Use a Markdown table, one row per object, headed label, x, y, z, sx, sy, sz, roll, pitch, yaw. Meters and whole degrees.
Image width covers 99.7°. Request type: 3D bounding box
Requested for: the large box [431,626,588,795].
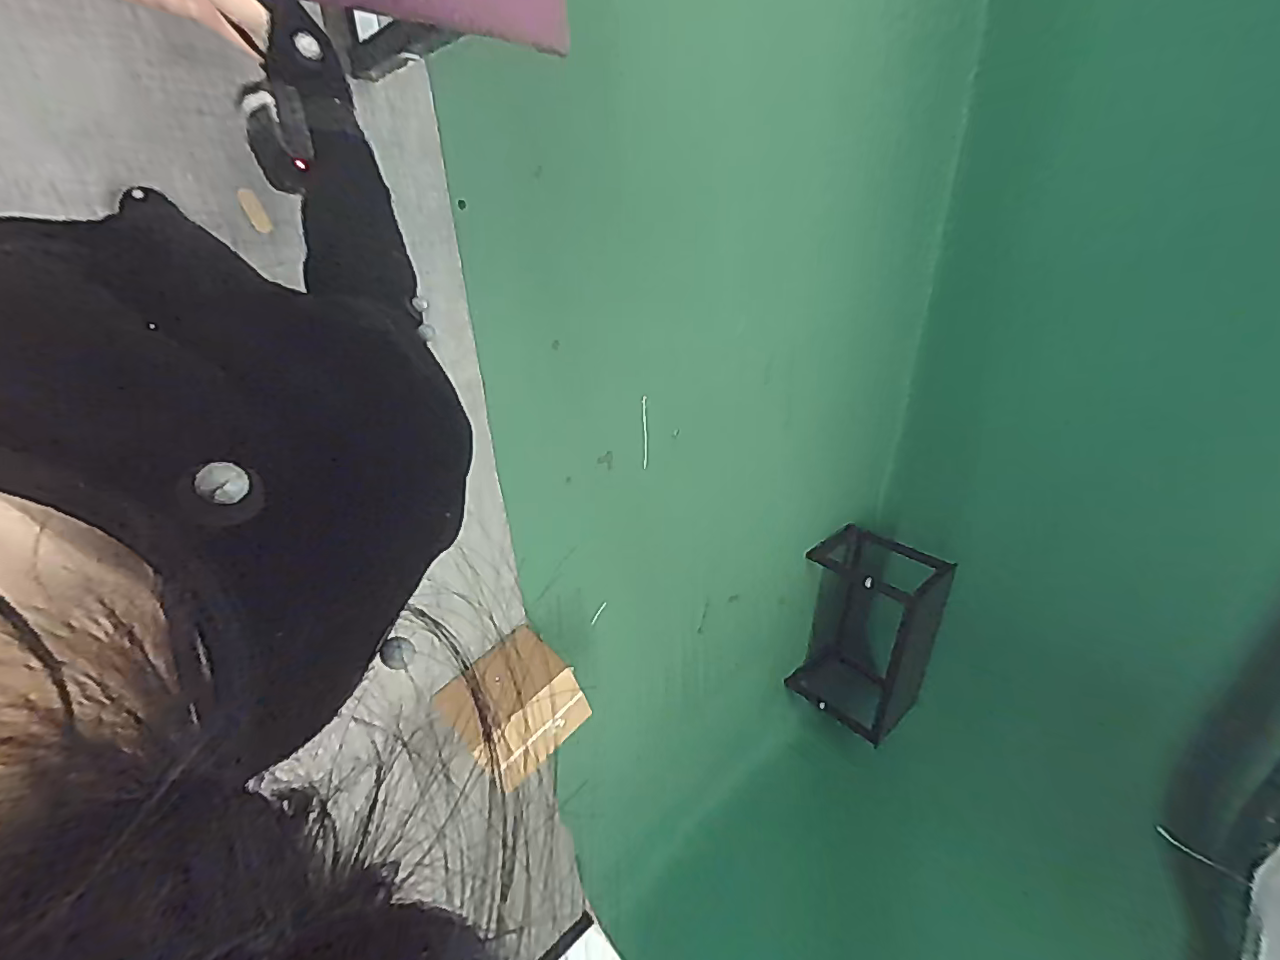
| label | x | y | z | sx | sy | sz | roll | pitch | yaw |
| --- | --- | --- | --- | --- | --- | --- | --- | --- | --- |
| large box | -0.471 | 0.826 | 1.977 | 0.408 | 0.320 | 0.320 | -38 | 132 | -28 |
